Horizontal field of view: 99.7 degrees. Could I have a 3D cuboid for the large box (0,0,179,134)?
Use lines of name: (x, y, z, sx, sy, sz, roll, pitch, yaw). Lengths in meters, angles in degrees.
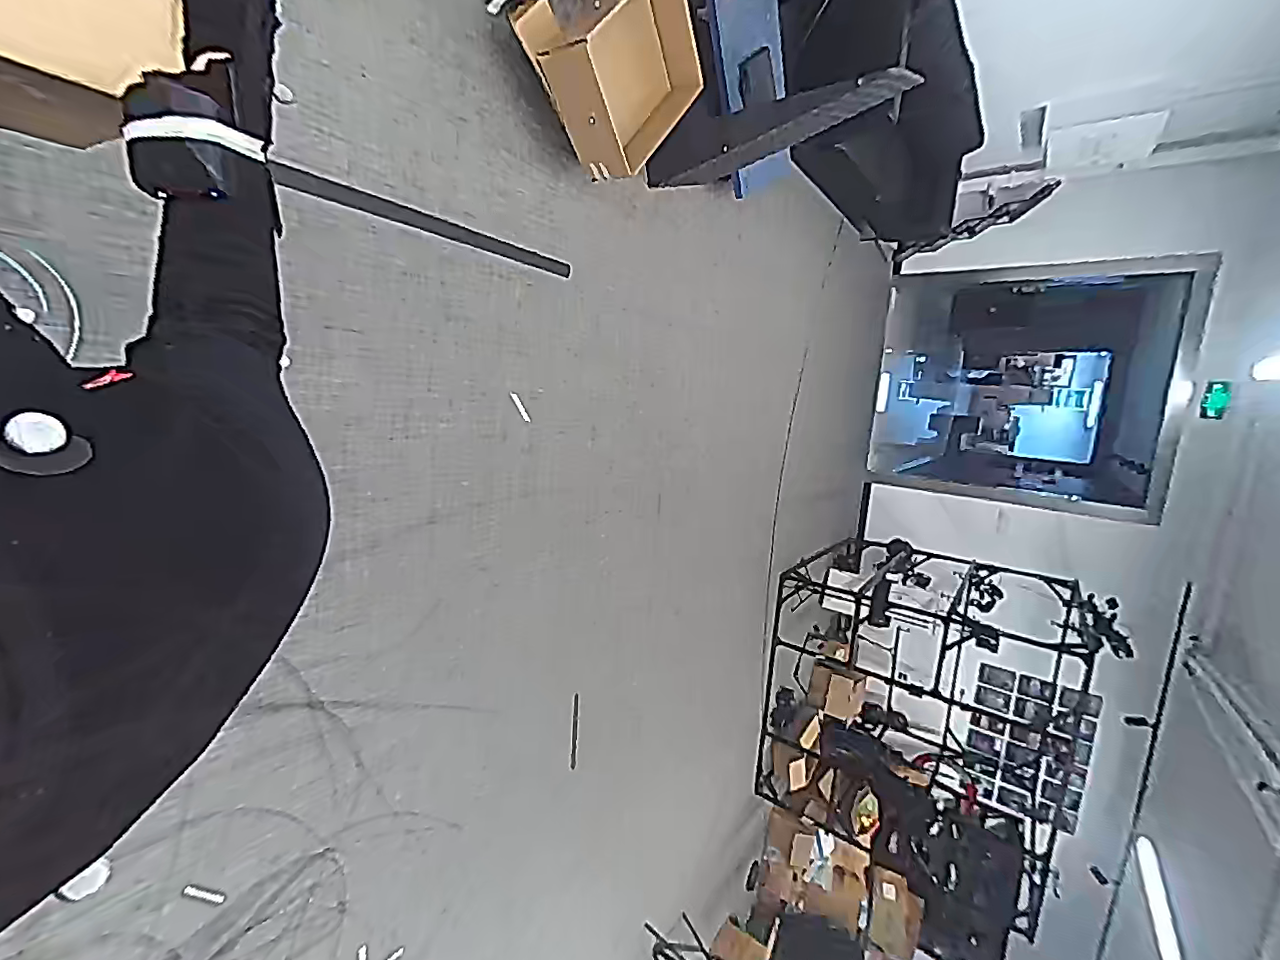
large box: (-0.548, -0.435, 0.278, 0.408, 0.320, 0.320, -10, 114, -55)
